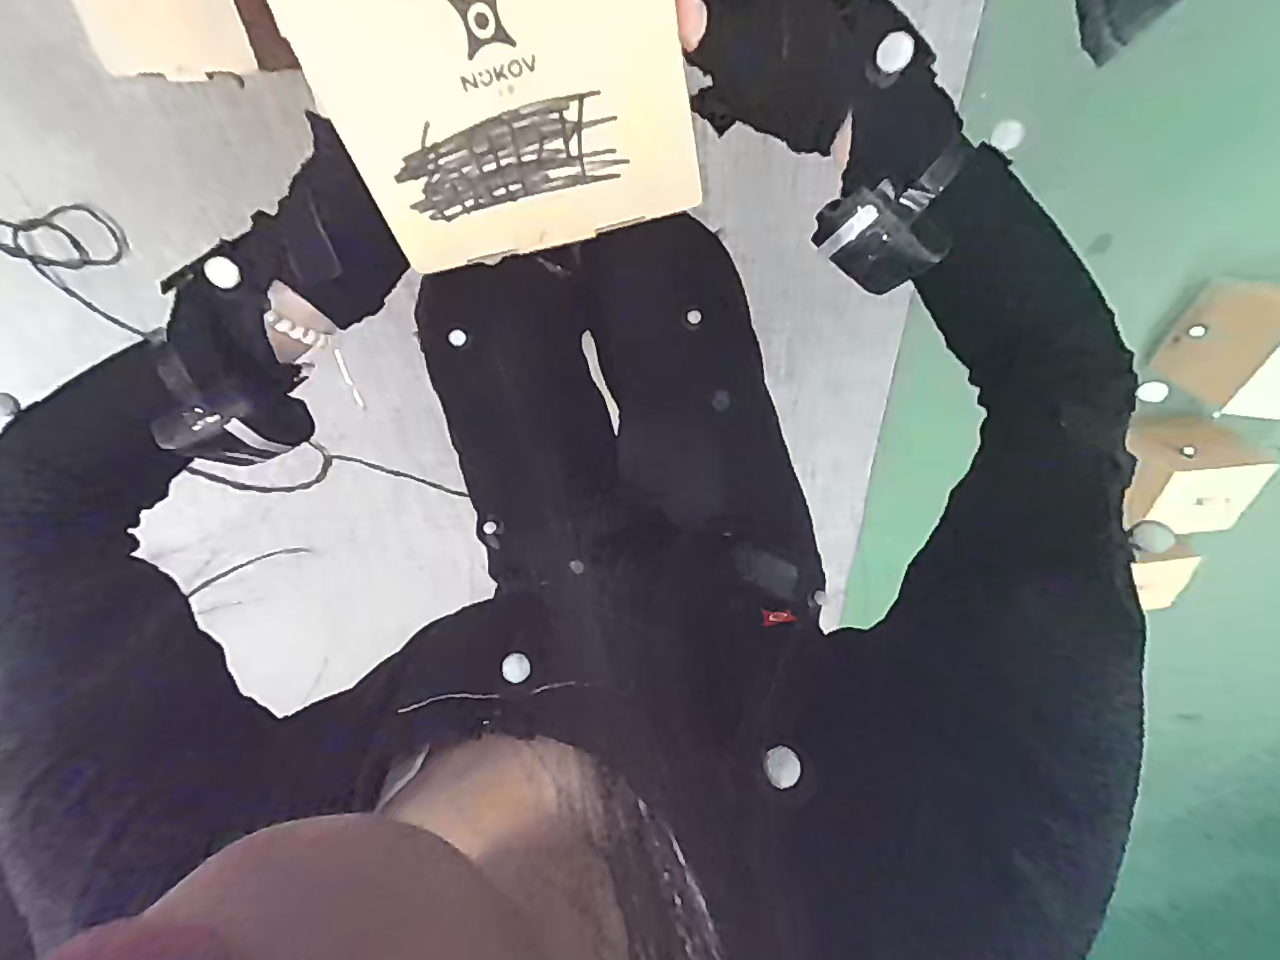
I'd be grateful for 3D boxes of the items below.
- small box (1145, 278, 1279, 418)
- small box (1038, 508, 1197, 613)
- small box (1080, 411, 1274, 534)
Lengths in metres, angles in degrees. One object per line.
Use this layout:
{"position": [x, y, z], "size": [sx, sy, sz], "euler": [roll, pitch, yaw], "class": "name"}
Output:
{"position": [1.015, -0.219, 0.886], "size": [0.179, 0.176, 0.168], "euler": [5, 128, -4], "class": "small box"}
{"position": [1.049, 0.171, 1.207], "size": [0.179, 0.176, 0.168], "euler": [-9, 129, 5], "class": "small box"}
{"position": [1.017, -0.018, 1.049], "size": [0.179, 0.176, 0.168], "euler": [-6, 130, 3], "class": "small box"}
